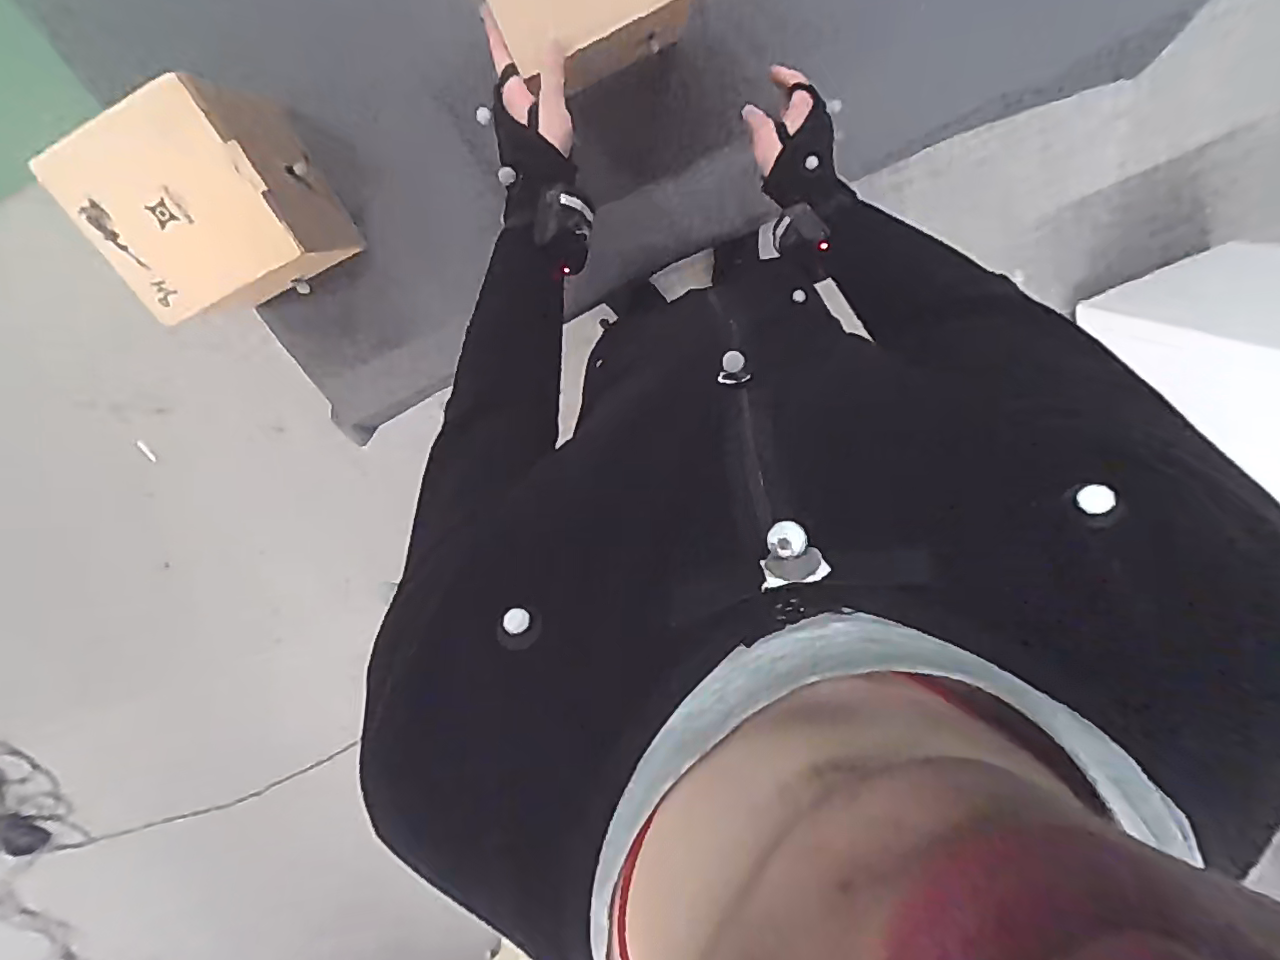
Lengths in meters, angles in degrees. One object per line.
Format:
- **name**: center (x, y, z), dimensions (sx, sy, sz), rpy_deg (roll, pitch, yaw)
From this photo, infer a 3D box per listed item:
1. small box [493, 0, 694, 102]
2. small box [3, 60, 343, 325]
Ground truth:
- **small box**: center (-0.058, -0.487, 0.497), dimensions (0.179, 0.176, 0.168), rpy_deg (-23, 115, 8)
- **small box**: center (-0.443, -0.285, 0.559), dimensions (0.179, 0.176, 0.168), rpy_deg (-24, 115, 5)
